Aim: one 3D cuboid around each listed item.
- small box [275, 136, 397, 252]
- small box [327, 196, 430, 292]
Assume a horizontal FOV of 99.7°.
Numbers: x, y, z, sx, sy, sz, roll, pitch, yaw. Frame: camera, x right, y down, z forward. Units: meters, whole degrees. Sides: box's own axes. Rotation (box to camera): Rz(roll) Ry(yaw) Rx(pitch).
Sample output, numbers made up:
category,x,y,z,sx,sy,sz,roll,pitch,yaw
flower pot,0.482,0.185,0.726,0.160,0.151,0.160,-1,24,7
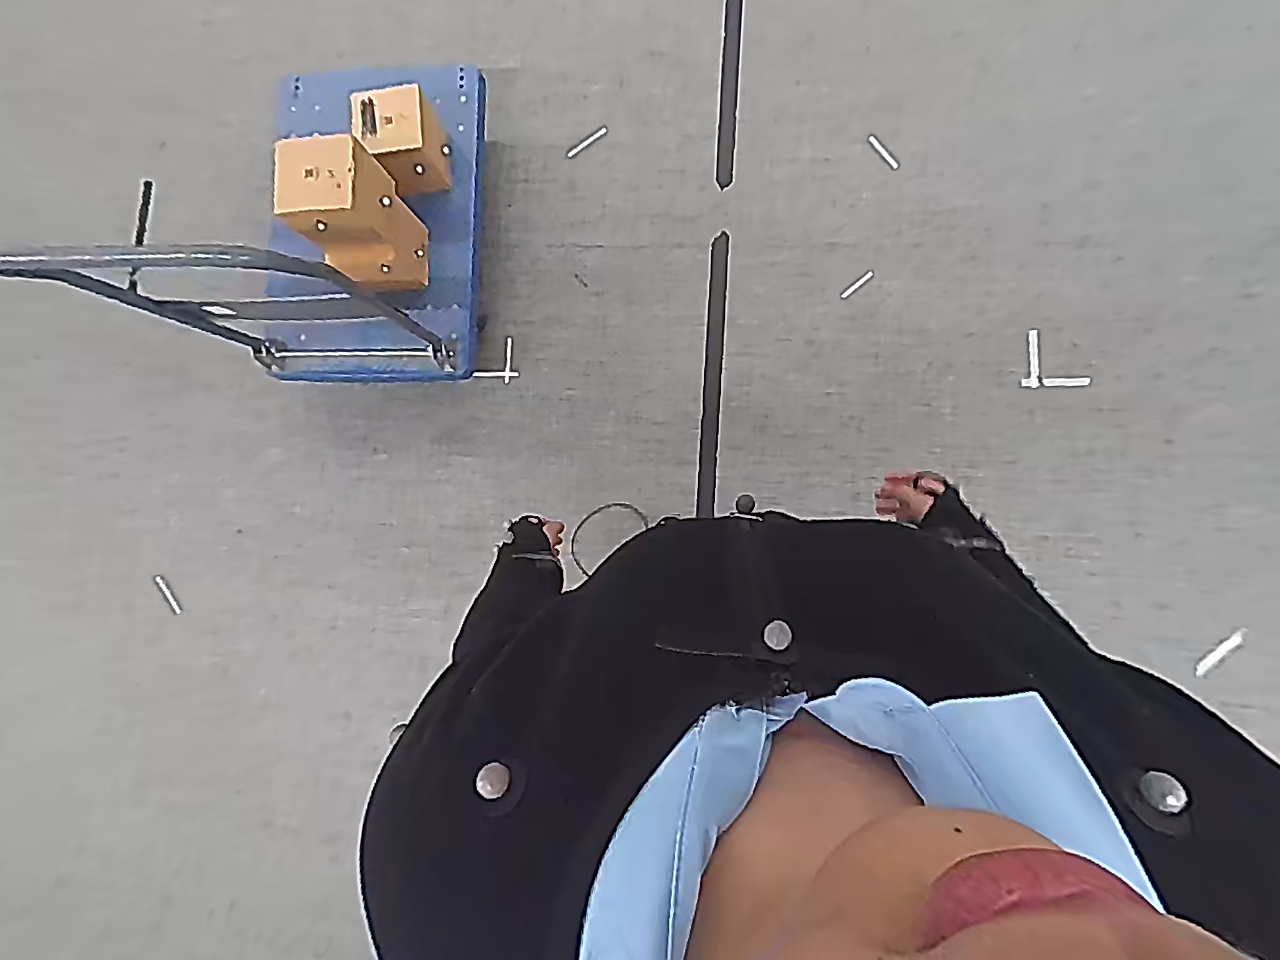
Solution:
category,x,y,z,sx,sy,sz,roll,pitch,yaw
small box,-0.673,-0.631,1.211,0.179,0.176,0.168,-2,86,5
small box,-0.658,-0.592,1.373,0.179,0.176,0.168,-3,85,5
